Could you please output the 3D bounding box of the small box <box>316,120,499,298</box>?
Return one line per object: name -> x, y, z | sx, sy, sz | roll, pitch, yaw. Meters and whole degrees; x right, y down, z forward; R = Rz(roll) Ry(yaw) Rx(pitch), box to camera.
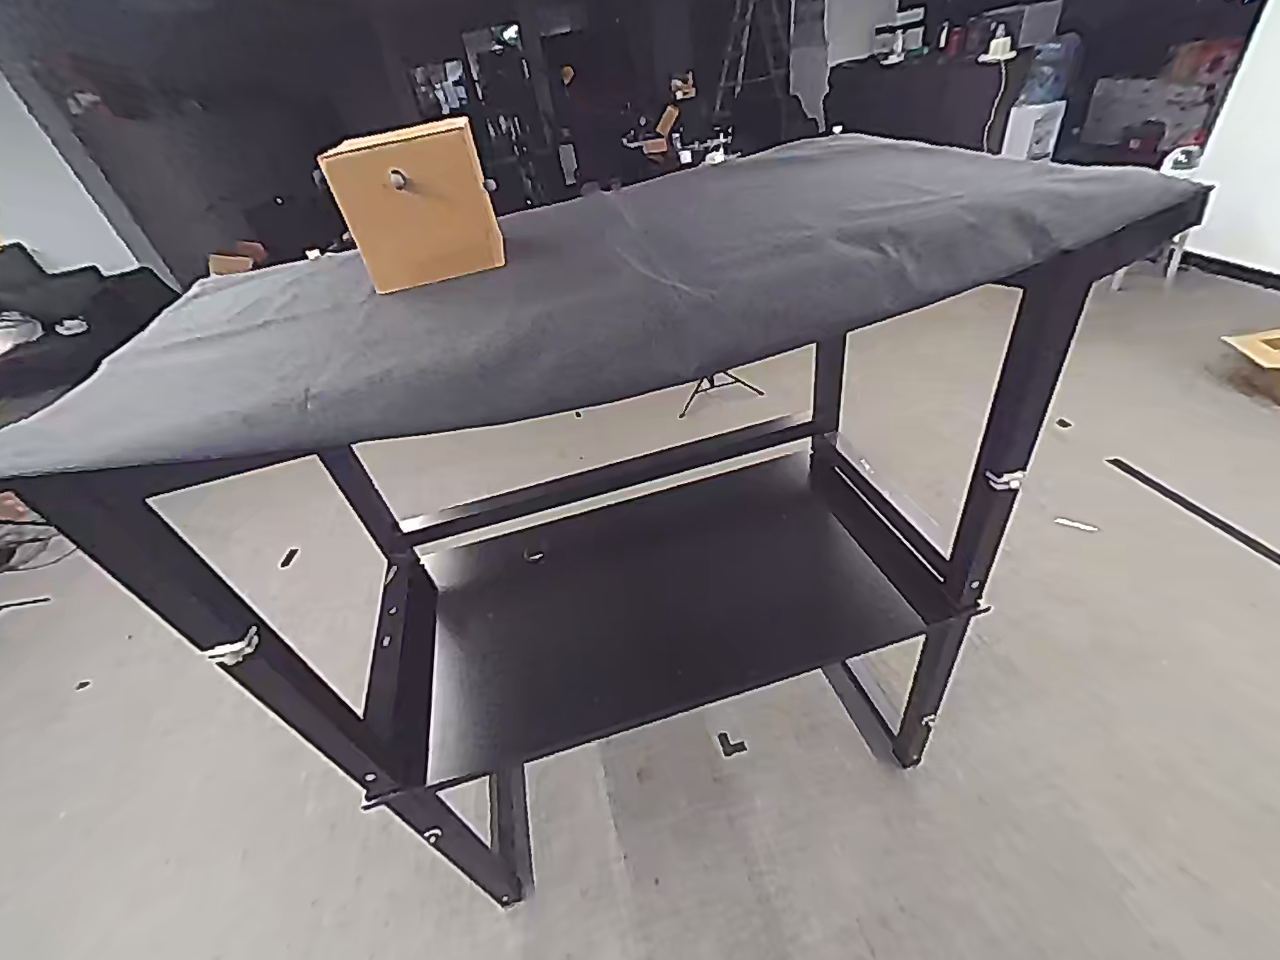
small box -> -0.300, -0.374, 0.747 | 0.179, 0.176, 0.168 | -16, 39, -4
